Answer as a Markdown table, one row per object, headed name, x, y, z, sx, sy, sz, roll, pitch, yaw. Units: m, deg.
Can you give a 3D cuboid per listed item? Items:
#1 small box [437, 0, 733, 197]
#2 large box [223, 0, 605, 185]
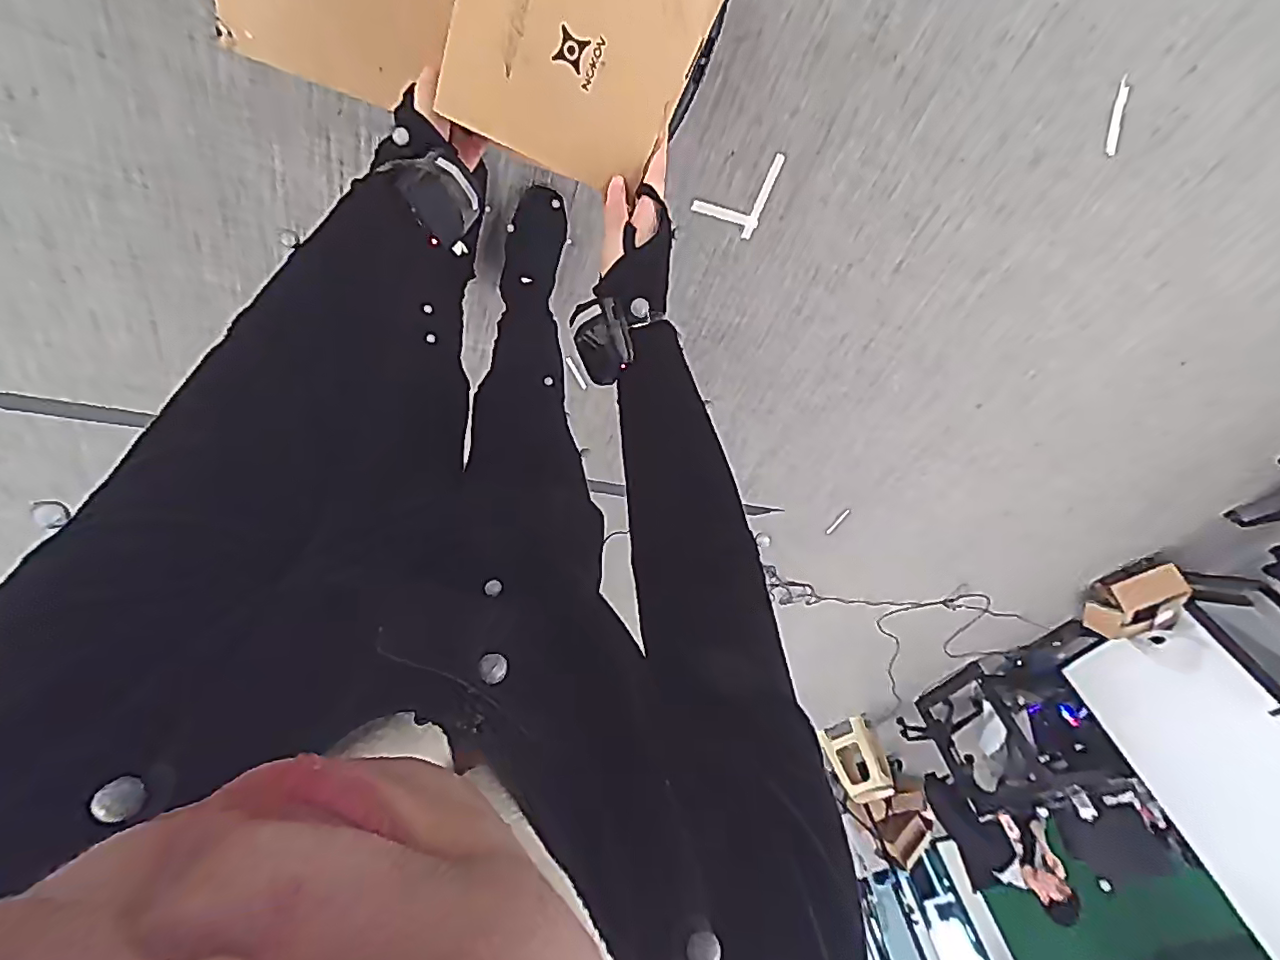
| name | x | y | z | sx | sy | sz | roll | pitch | yaw |
| --- | --- | --- | --- | --- | --- | --- | --- | --- | --- |
| small box | -0.053 | -0.380 | 0.450 | 0.179 | 0.176 | 0.168 | 14 | 131 | -25 |
| large box | -0.163 | -0.581 | 0.574 | 0.408 | 0.320 | 0.320 | 10 | 131 | -21 |
